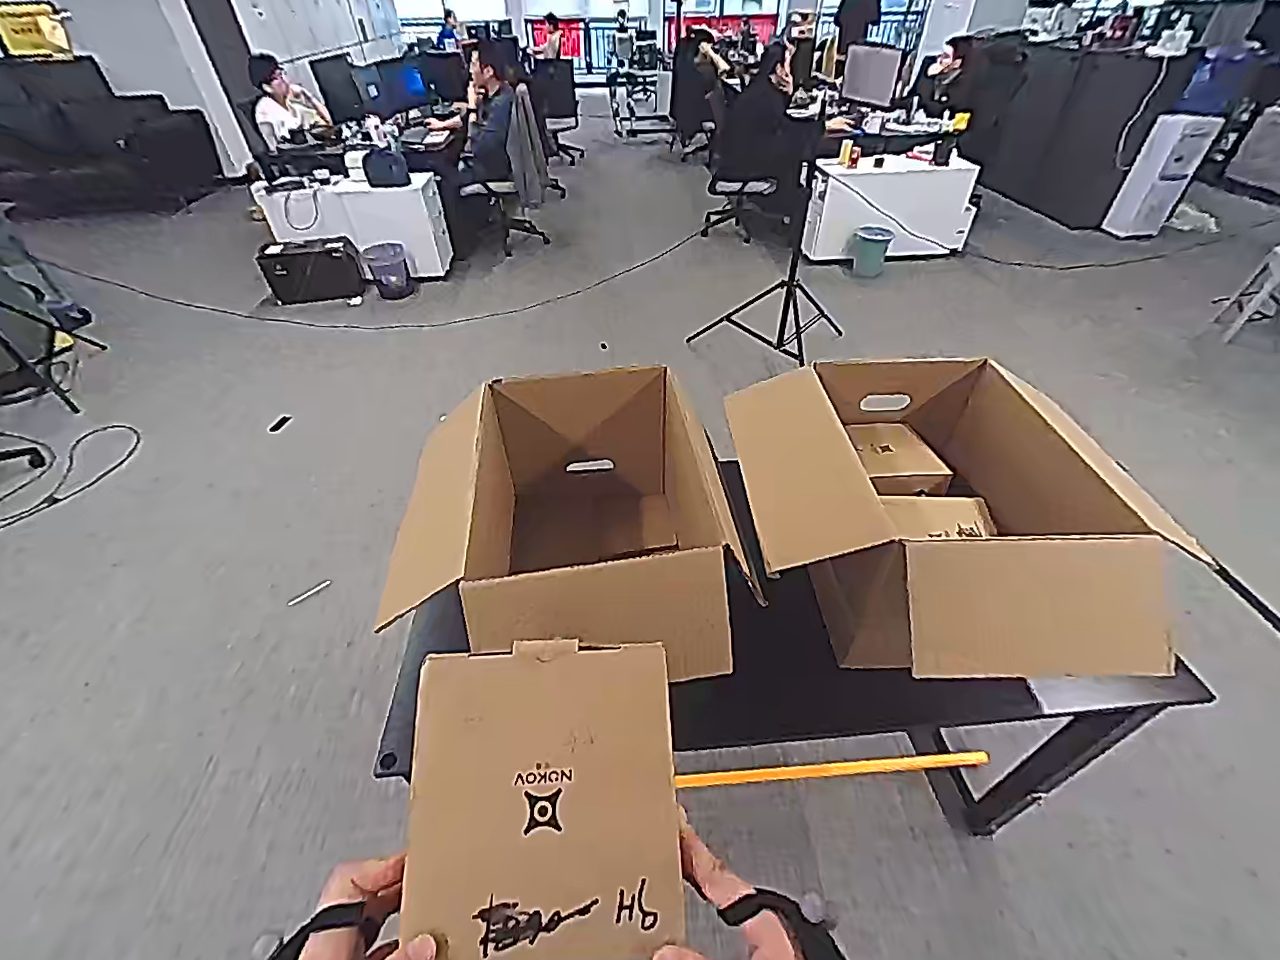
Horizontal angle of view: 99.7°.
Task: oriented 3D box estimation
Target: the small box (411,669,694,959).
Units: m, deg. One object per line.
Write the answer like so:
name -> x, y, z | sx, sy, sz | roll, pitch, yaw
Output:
small box -> -0.057, 0.246, 0.413 | 0.168, 0.176, 0.179 | -2, 68, -3
